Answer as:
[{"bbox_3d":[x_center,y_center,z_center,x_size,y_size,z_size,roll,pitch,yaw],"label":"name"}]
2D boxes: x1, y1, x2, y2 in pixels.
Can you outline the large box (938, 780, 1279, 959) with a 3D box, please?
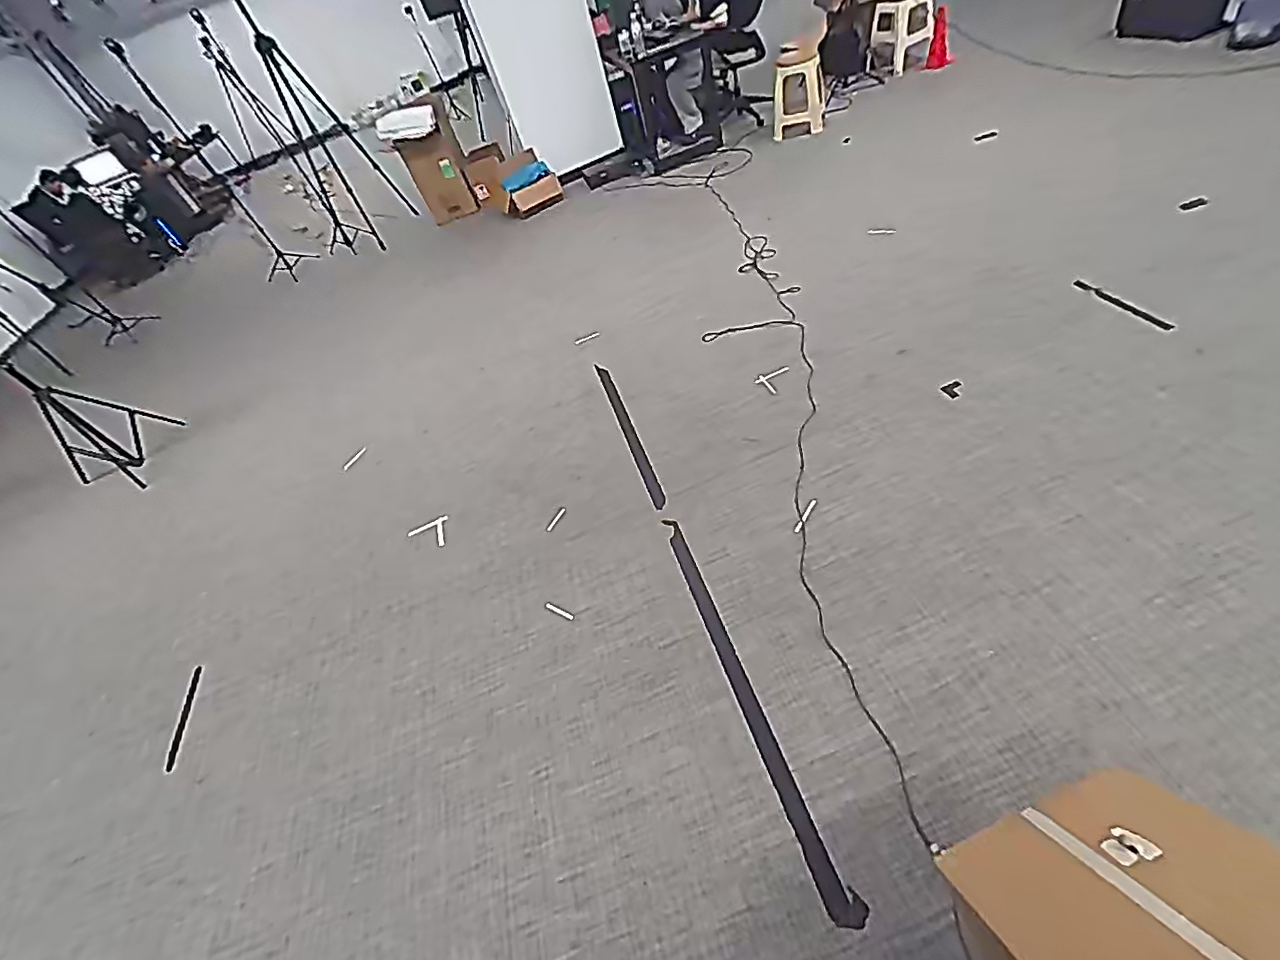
[{"bbox_3d":[0.639,0.623,0.594,0.320,0.408,0.320,-24,83,-1],"label":"large box"}]
